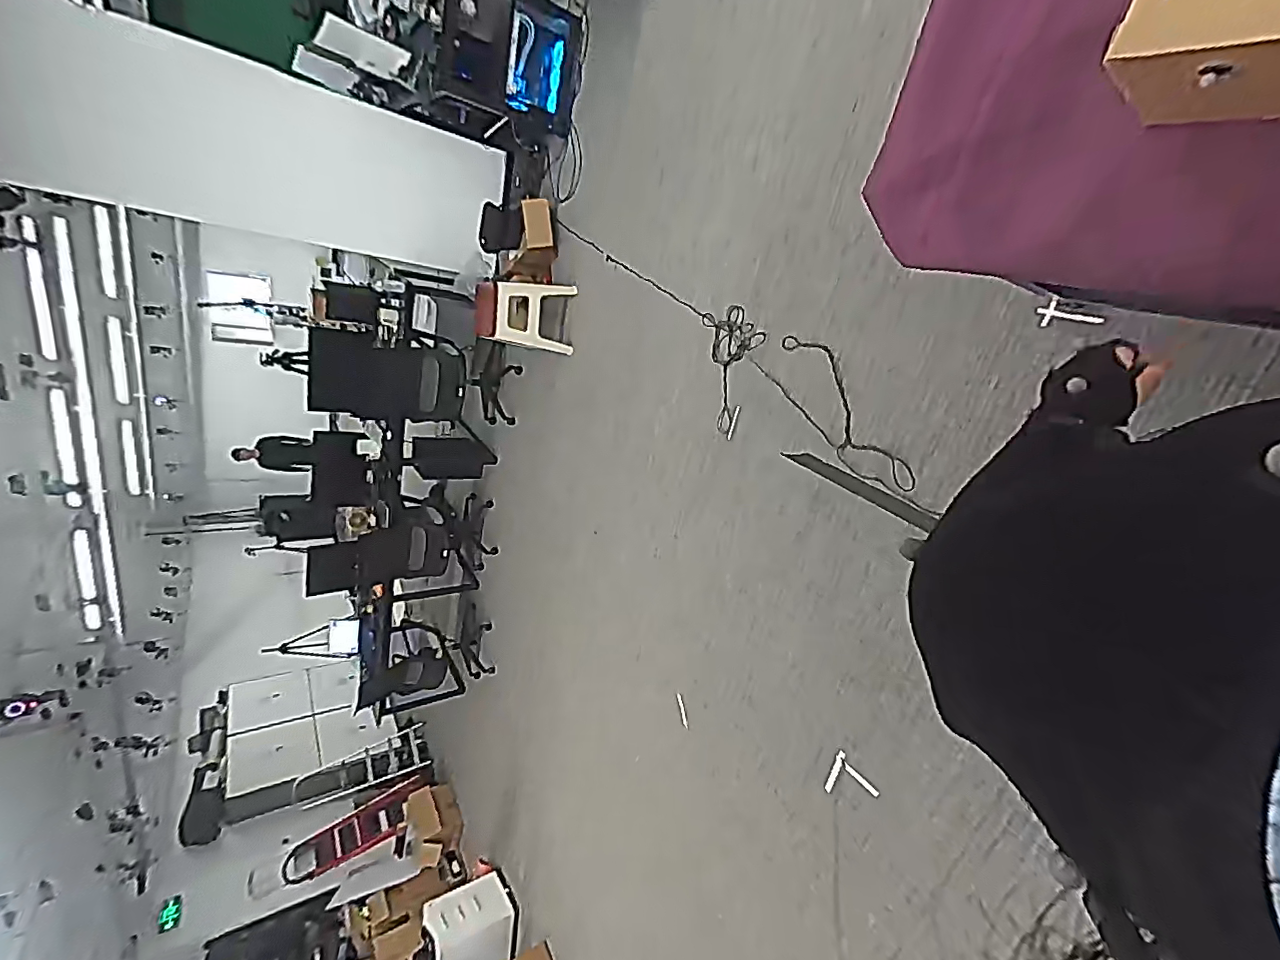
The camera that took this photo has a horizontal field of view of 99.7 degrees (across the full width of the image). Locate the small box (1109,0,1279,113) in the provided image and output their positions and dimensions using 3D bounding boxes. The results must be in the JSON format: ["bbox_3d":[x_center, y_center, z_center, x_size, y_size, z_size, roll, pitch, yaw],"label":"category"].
[{"bbox_3d":[0.566,-0.438,0.462,0.179,0.176,0.168,37,121,46],"label":"small box"}]
